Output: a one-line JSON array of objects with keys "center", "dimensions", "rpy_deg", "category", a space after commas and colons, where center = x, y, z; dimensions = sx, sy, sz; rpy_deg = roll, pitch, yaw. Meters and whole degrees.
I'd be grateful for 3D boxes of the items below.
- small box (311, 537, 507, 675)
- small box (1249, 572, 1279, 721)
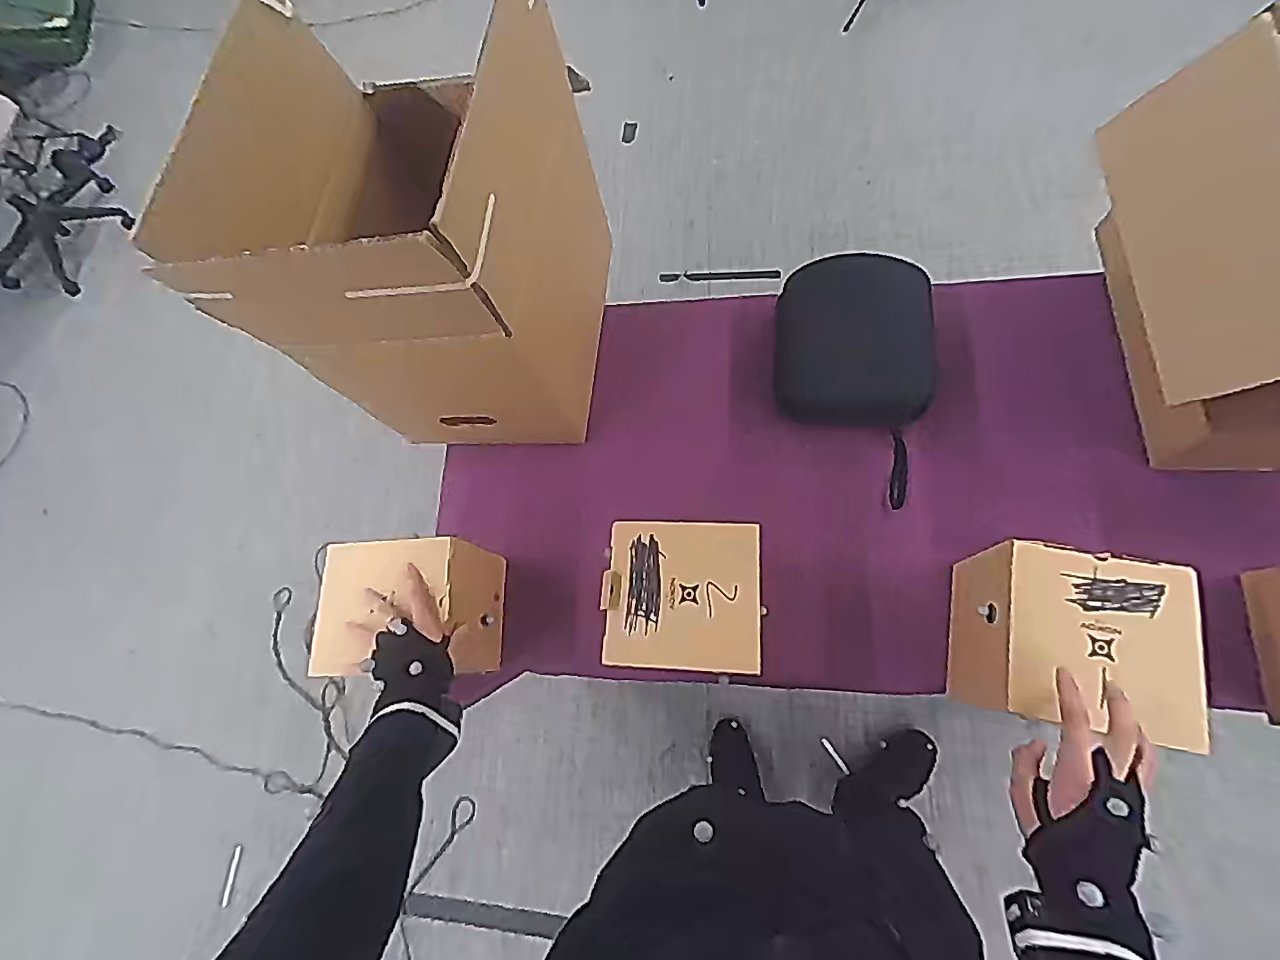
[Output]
[{"center": [-0.302, 0.179, 0.743], "dimensions": [0.179, 0.176, 0.168], "rpy_deg": [-4, 71, 8], "category": "small box"}, {"center": [0.788, 0.179, 0.545], "dimensions": [0.168, 0.176, 0.179], "rpy_deg": [5, 72, 13], "category": "small box"}]
